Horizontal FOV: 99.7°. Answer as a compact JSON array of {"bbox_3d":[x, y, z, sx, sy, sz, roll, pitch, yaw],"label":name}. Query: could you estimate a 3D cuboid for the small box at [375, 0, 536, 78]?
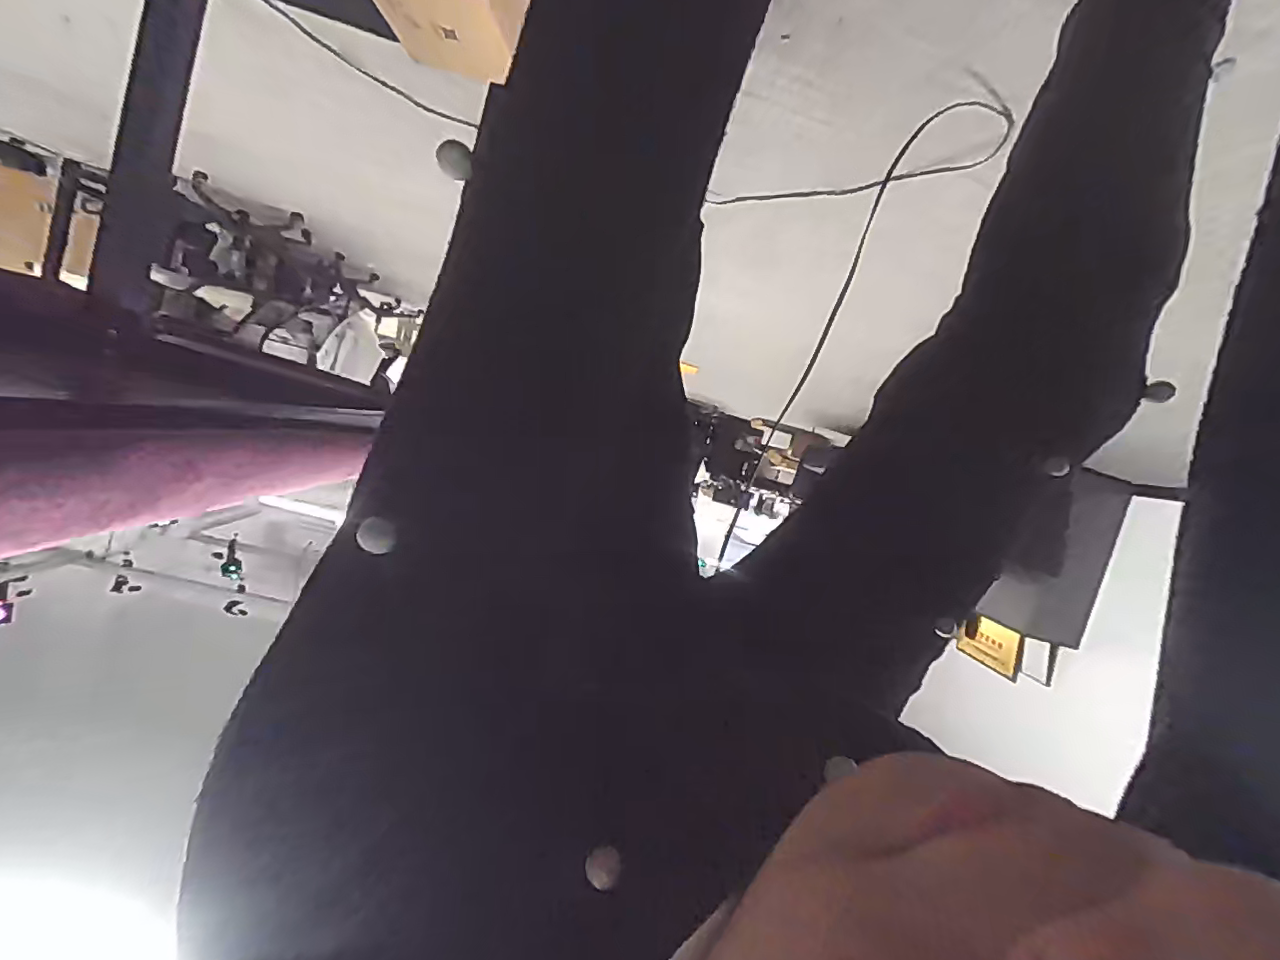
[{"bbox_3d":[-0.231,-0.661,0.676,0.179,0.176,0.168,16,-176,1],"label":"small box"}]
